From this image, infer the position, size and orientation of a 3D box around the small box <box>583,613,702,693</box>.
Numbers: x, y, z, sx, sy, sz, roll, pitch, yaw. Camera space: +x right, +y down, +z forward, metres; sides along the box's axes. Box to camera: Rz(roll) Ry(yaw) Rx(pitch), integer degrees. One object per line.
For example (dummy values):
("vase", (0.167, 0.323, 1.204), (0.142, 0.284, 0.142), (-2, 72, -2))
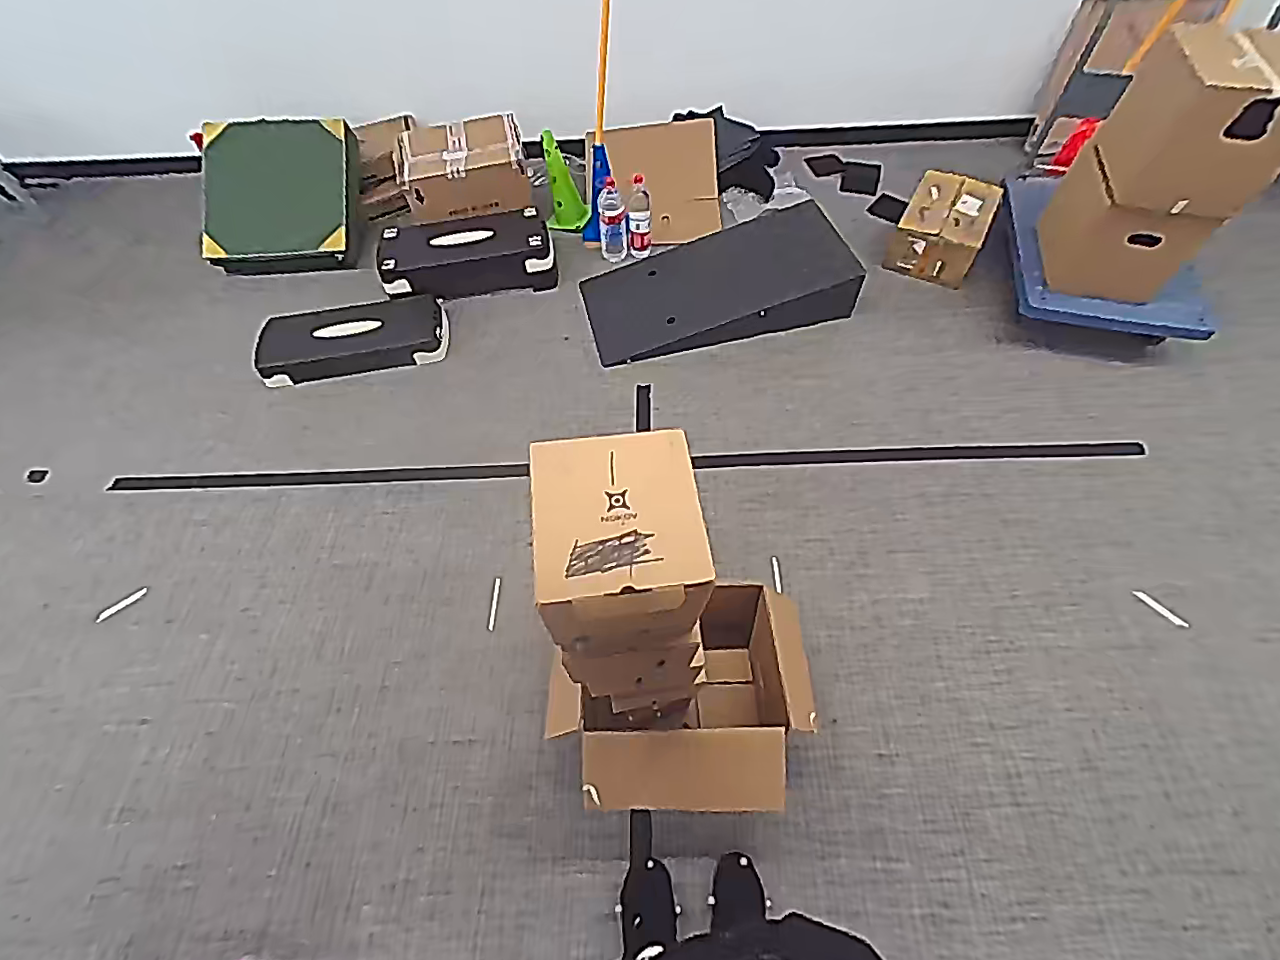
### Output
("small box", (-0.005, 0.241, 0.875), (0.179, 0.176, 0.168), (-6, 62, -4))

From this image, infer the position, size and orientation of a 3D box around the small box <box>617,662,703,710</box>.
("small box", (0.019, 0.382, 1.173), (0.179, 0.176, 0.168), (-18, 62, -12))

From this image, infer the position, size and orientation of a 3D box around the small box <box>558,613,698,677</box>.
("small box", (-0.021, 0.163, 0.732), (0.168, 0.176, 0.179), (-5, 61, -4))

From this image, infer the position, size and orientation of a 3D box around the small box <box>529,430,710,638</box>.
("small box", (-0.026, 0.068, 0.597), (0.168, 0.176, 0.179), (-6, 61, -6))
